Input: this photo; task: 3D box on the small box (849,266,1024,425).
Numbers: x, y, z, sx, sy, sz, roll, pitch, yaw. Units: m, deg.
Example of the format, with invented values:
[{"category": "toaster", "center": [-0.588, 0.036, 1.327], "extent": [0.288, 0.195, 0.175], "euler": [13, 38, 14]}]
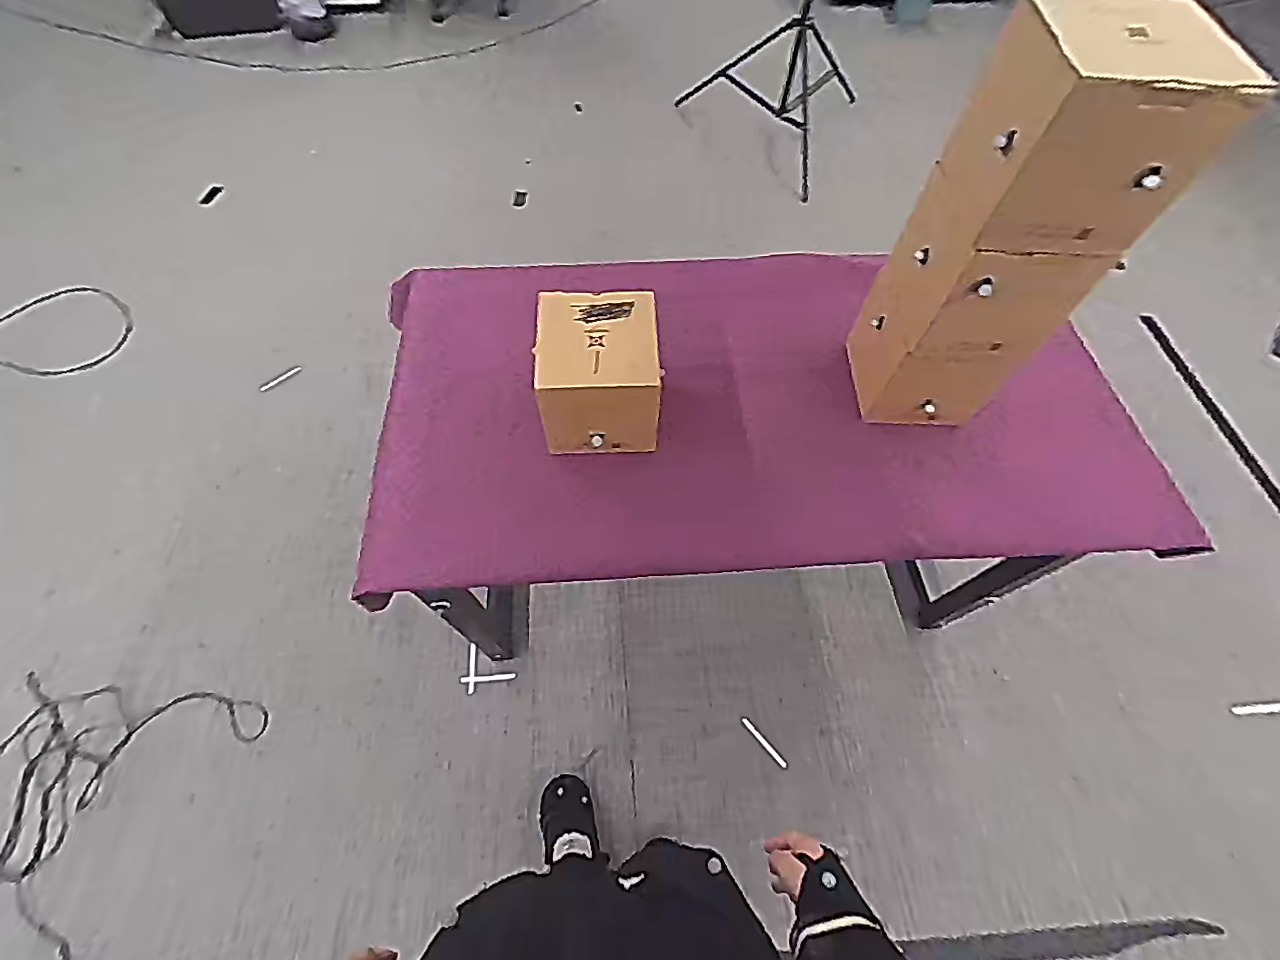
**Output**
[{"category": "small box", "center": [0.443, -0.207, 0.845], "extent": [0.168, 0.176, 0.179], "euler": [1, 61, 1]}]

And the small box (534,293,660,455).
[{"category": "small box", "center": [-0.060, -0.154, 0.808], "extent": [0.168, 0.176, 0.179], "euler": [-2, 62, -2]}]

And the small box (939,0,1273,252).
[{"category": "small box", "center": [0.443, -0.359, 0.556], "extent": [0.168, 0.176, 0.179], "euler": [3, 60, 0]}]
